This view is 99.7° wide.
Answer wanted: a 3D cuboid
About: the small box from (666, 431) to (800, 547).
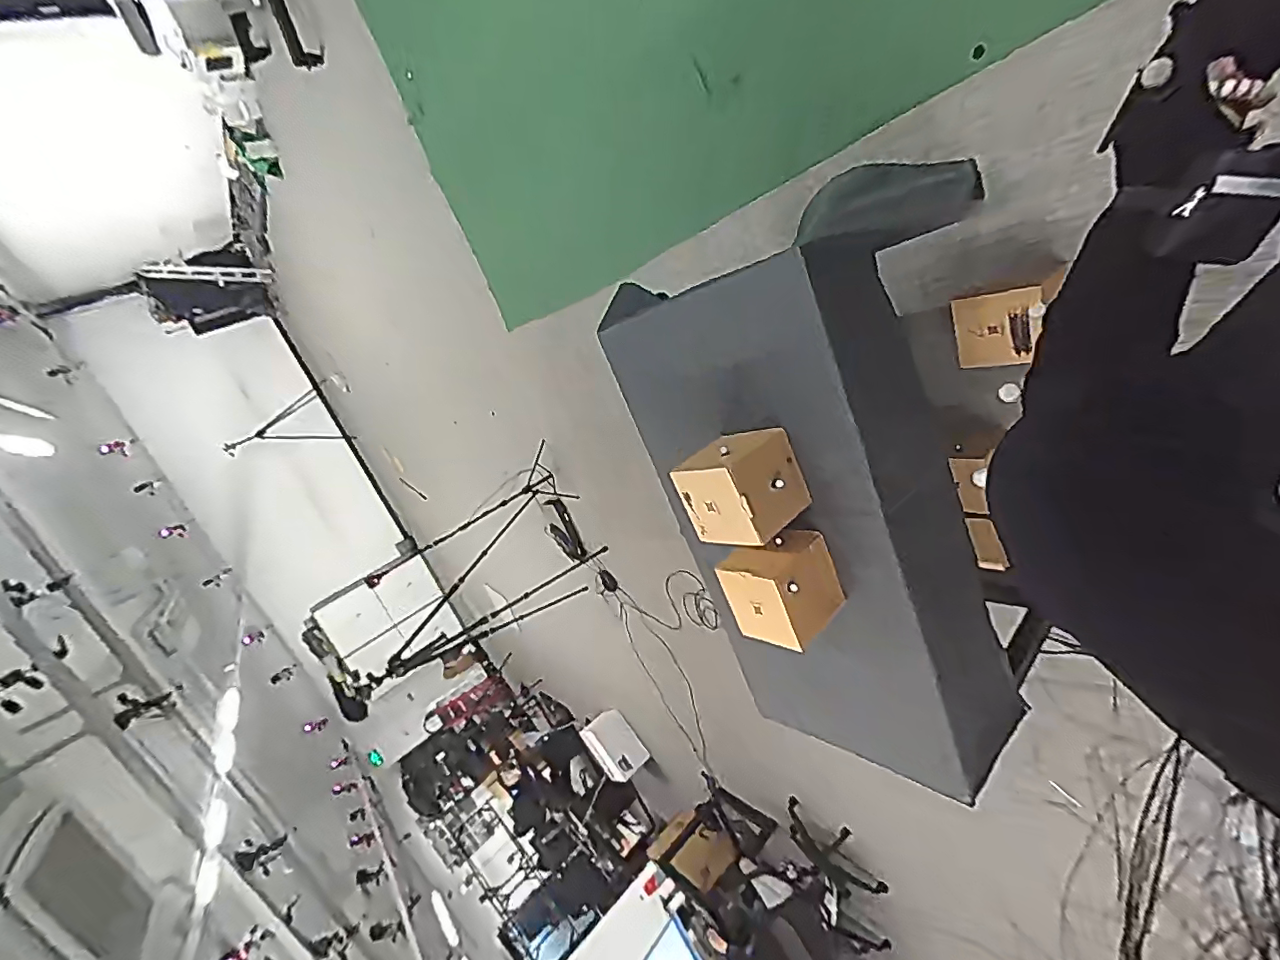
[{"bbox_3d":[0.188,0.015,1.058,0.179,0.176,0.168,-5,114,55],"label":"small box"}]
